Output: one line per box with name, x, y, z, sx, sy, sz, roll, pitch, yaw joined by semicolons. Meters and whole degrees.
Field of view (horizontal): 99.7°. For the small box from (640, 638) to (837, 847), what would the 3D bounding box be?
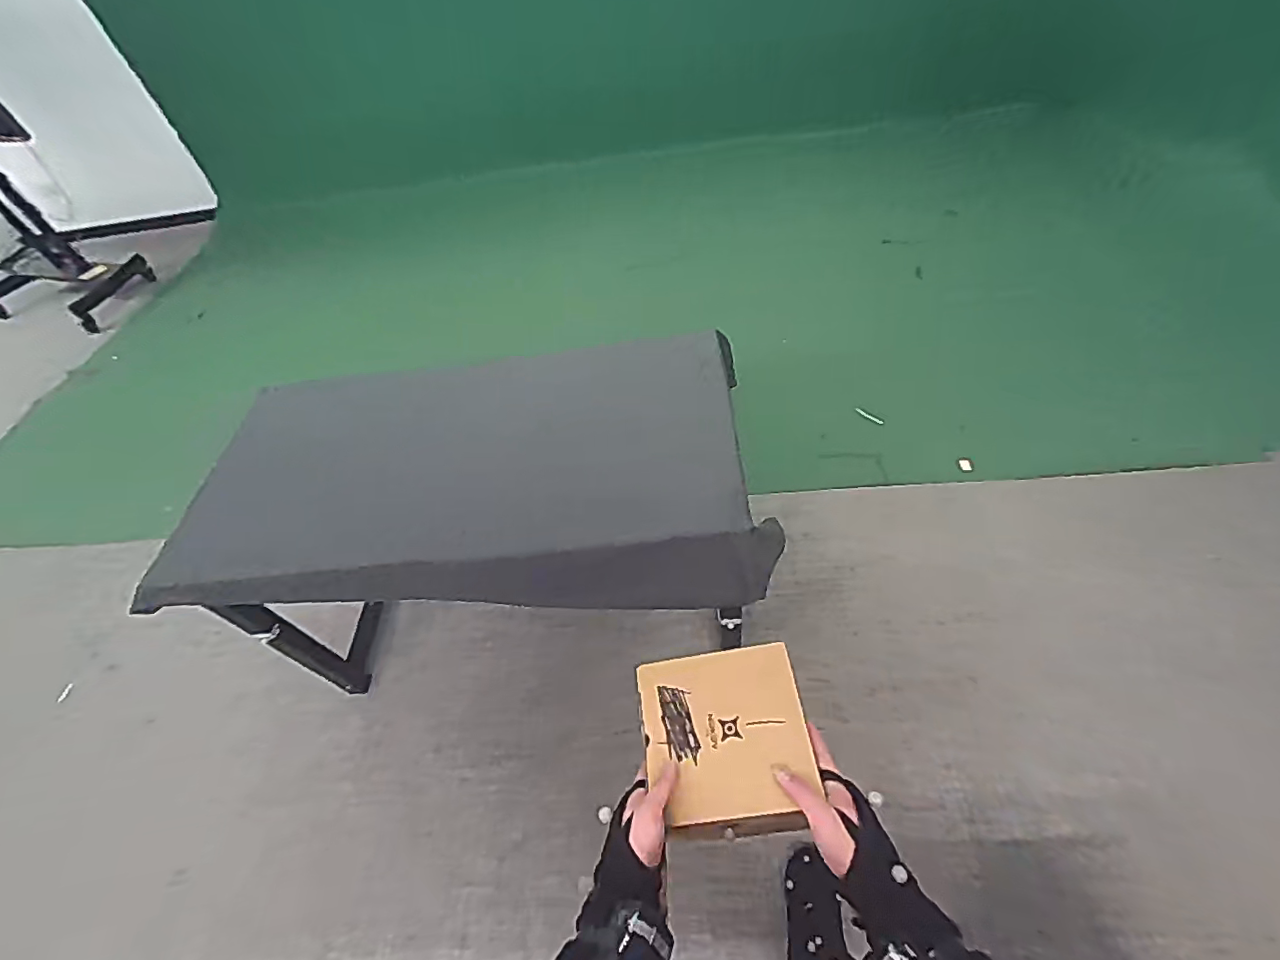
small box;0.106;0.302;0.614;0.179;0.176;0.168;-11;50;4
